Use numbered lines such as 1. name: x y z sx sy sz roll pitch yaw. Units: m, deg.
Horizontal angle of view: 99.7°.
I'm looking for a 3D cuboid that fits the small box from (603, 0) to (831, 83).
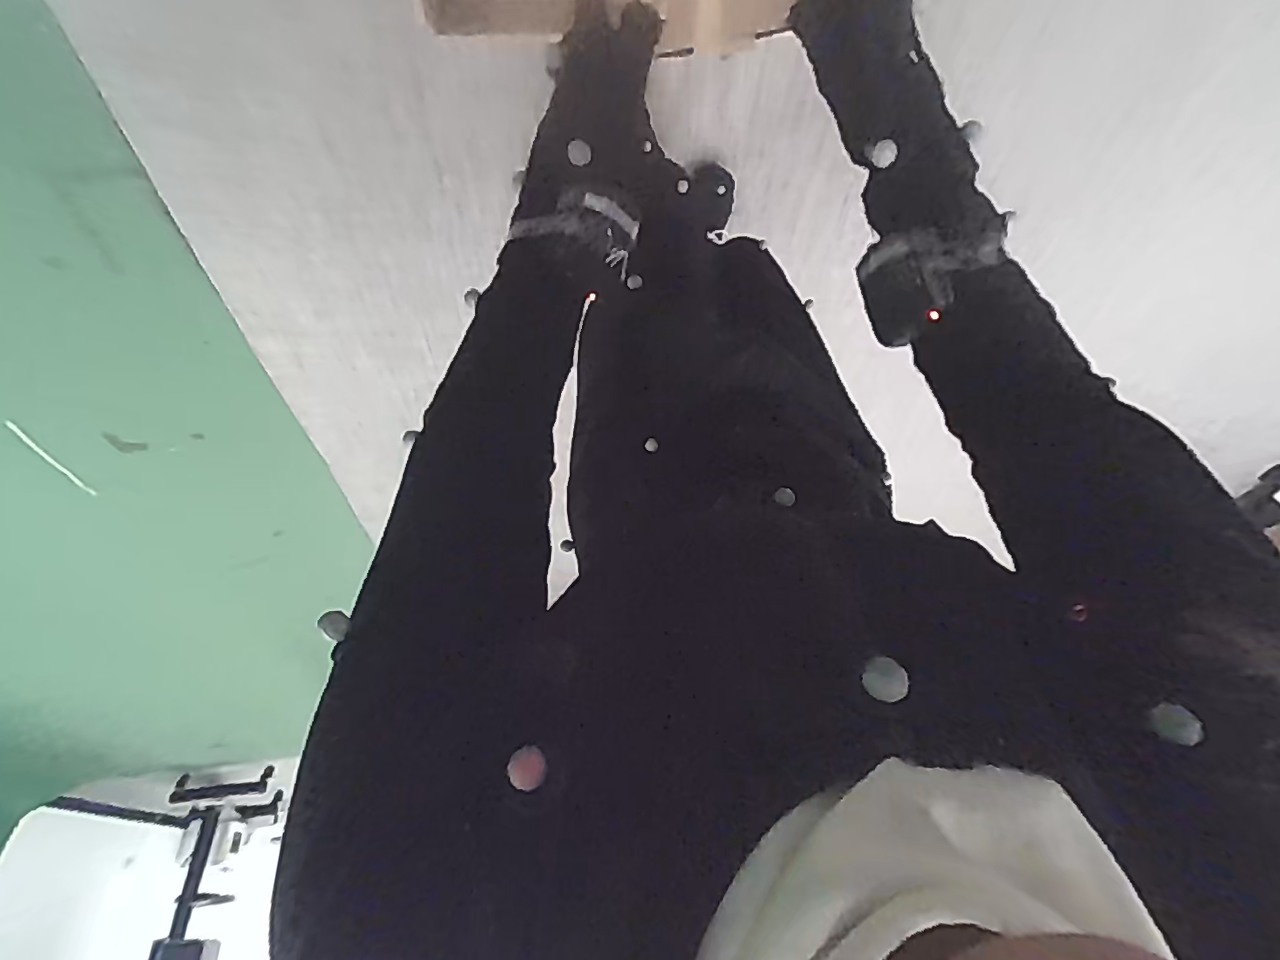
1. small box: 0.057 -0.439 0.415 0.168 0.176 0.179 -3 131 15
